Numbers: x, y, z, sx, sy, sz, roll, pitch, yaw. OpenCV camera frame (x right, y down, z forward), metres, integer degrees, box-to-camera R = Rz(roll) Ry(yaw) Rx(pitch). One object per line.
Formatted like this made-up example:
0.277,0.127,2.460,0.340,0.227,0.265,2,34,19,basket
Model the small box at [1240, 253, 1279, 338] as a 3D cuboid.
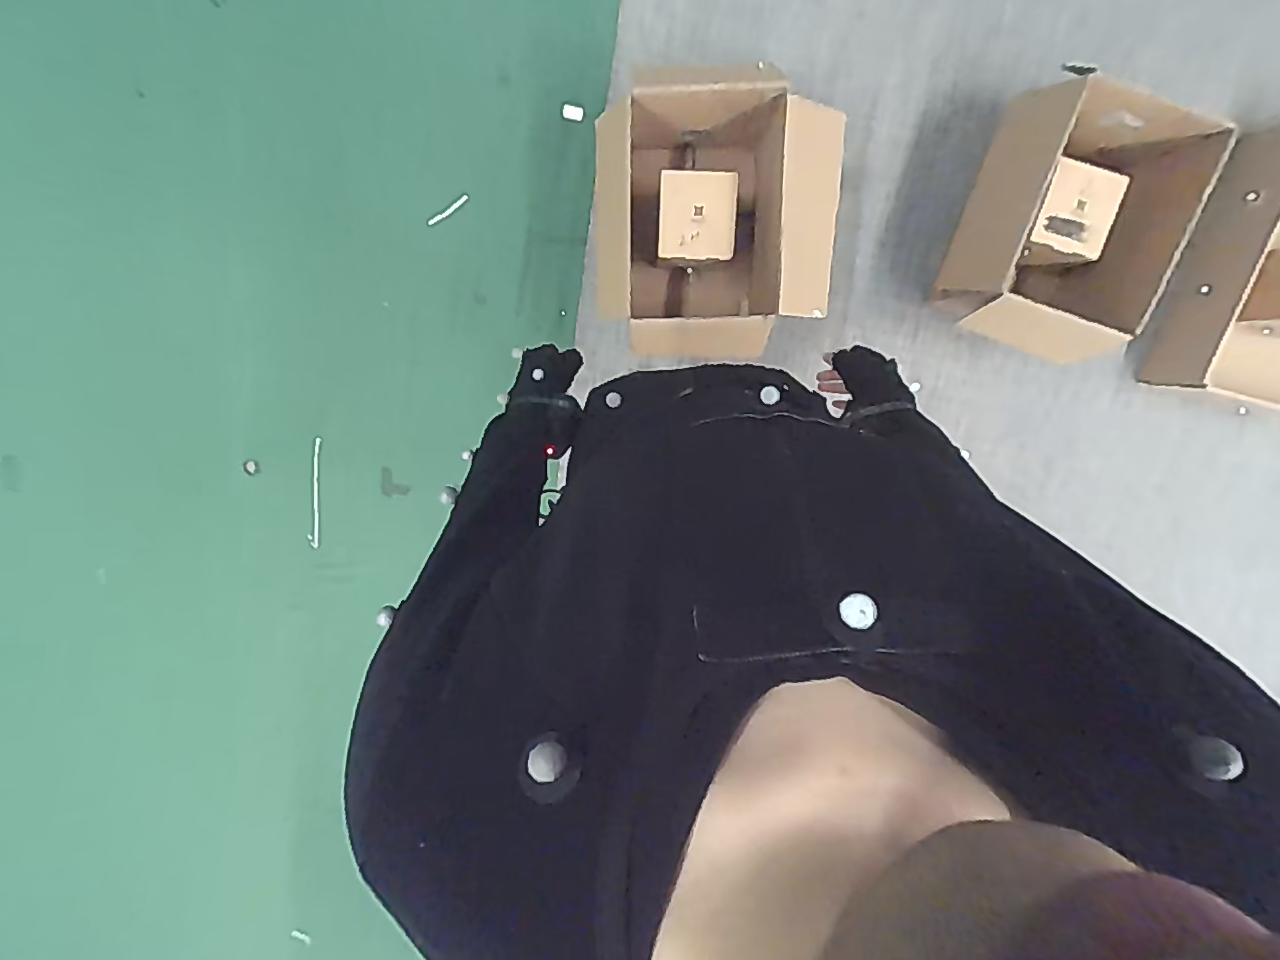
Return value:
1.571,-0.432,1.247,0.168,0.176,0.179,12,103,-4,small box
